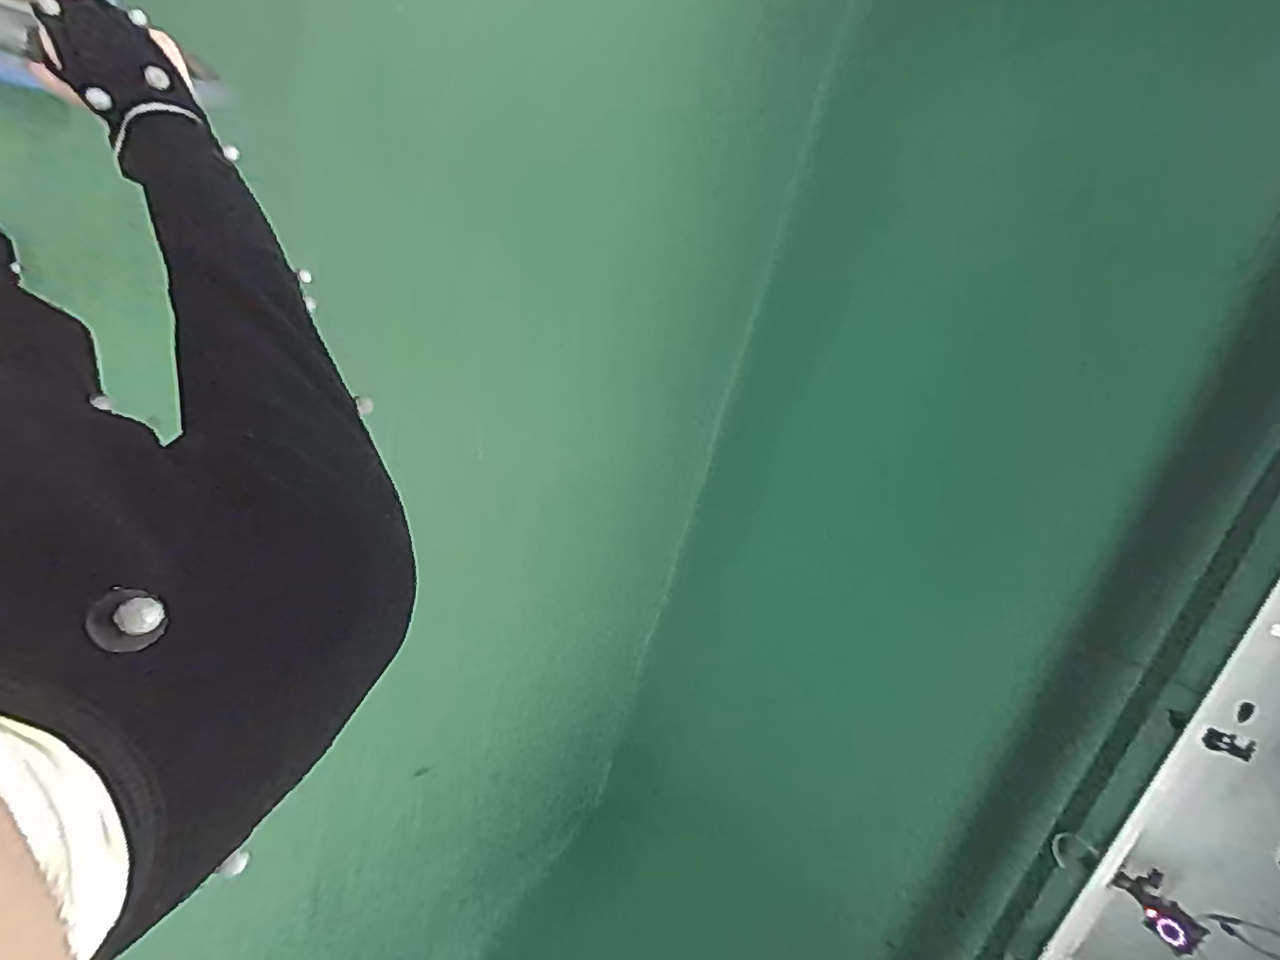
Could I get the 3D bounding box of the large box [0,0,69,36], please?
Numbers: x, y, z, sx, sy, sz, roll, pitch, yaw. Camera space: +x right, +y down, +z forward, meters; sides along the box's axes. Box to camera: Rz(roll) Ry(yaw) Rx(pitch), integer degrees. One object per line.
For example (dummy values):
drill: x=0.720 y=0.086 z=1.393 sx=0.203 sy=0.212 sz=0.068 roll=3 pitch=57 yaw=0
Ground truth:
large box: x=-0.918 y=-0.819 z=0.605 sx=0.320 sy=0.320 sz=0.408 roll=-14 pitch=120 yaw=-52
